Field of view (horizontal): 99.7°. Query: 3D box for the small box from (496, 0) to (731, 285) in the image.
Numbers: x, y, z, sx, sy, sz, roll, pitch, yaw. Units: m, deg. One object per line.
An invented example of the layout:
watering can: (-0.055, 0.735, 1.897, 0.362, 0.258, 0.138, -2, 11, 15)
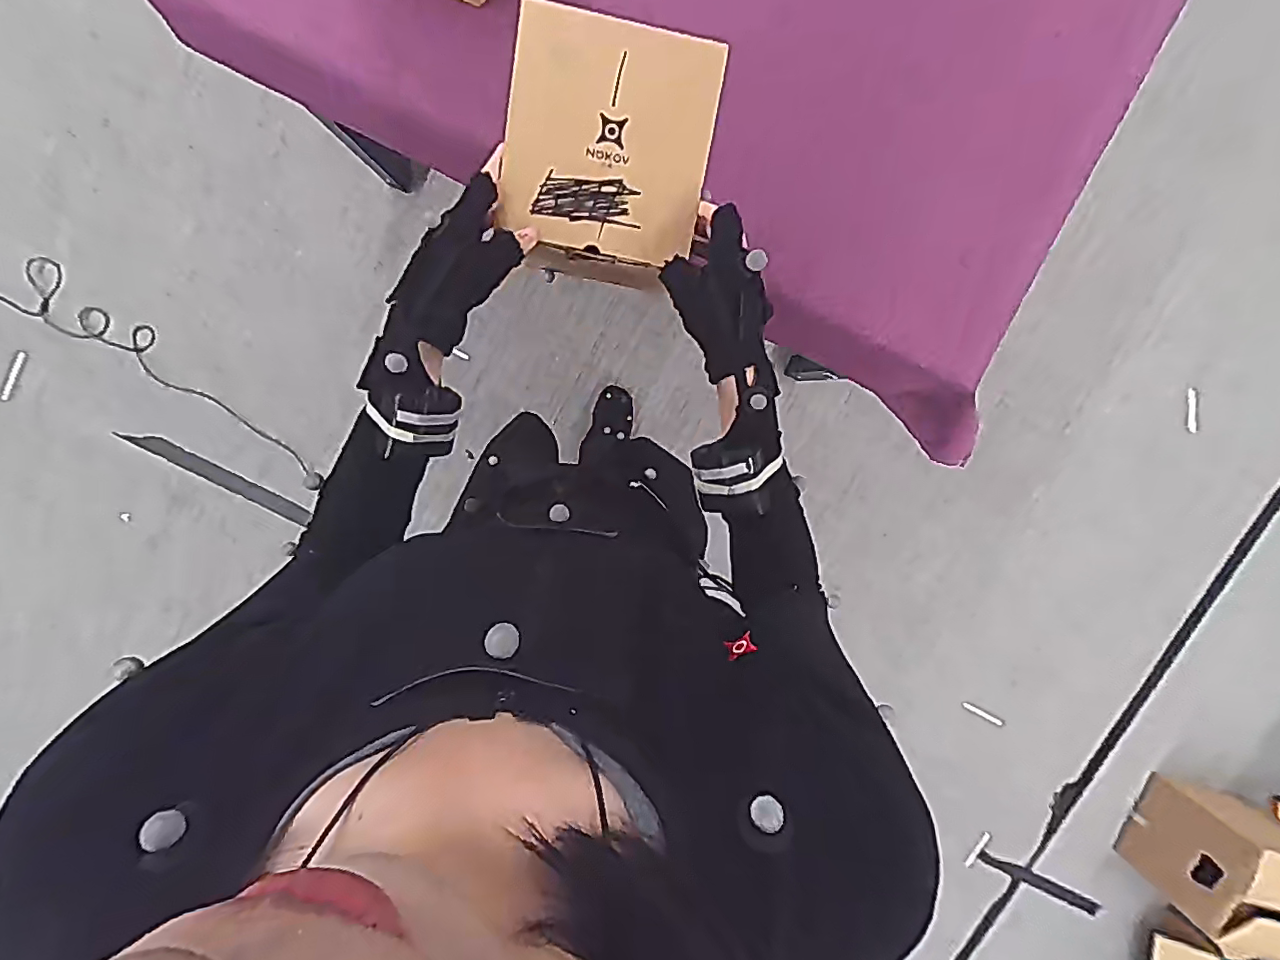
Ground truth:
small box: (-0.027, -0.296, 0.512, 0.168, 0.176, 0.179, 10, 101, -5)
